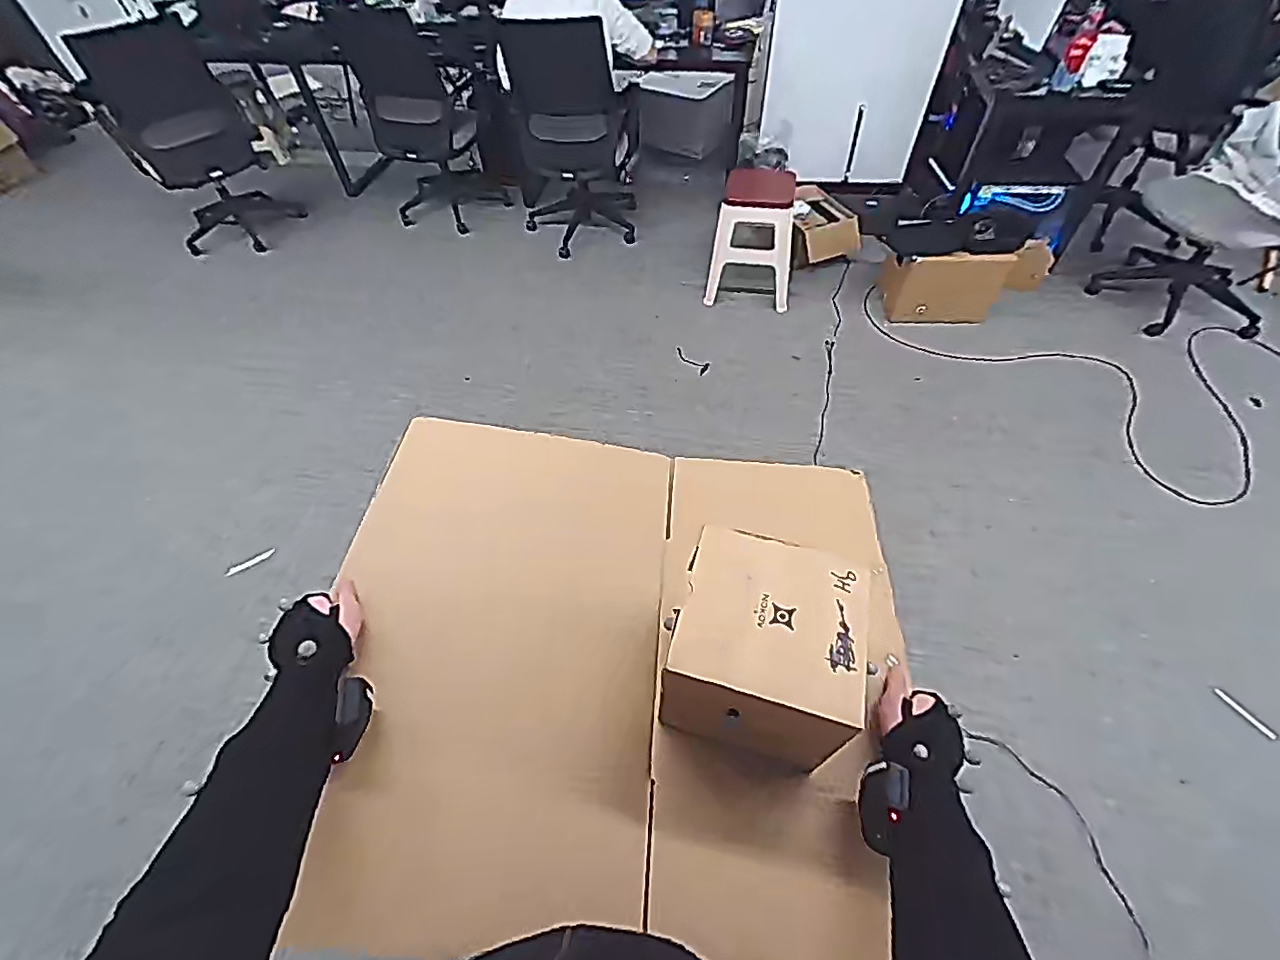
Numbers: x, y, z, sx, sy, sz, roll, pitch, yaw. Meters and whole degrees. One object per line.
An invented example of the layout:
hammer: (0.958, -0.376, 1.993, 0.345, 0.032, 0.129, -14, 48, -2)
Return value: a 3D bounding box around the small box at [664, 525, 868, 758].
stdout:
small box: (0.130, 0.177, 0.584, 0.179, 0.176, 0.168, 13, 52, 12)
